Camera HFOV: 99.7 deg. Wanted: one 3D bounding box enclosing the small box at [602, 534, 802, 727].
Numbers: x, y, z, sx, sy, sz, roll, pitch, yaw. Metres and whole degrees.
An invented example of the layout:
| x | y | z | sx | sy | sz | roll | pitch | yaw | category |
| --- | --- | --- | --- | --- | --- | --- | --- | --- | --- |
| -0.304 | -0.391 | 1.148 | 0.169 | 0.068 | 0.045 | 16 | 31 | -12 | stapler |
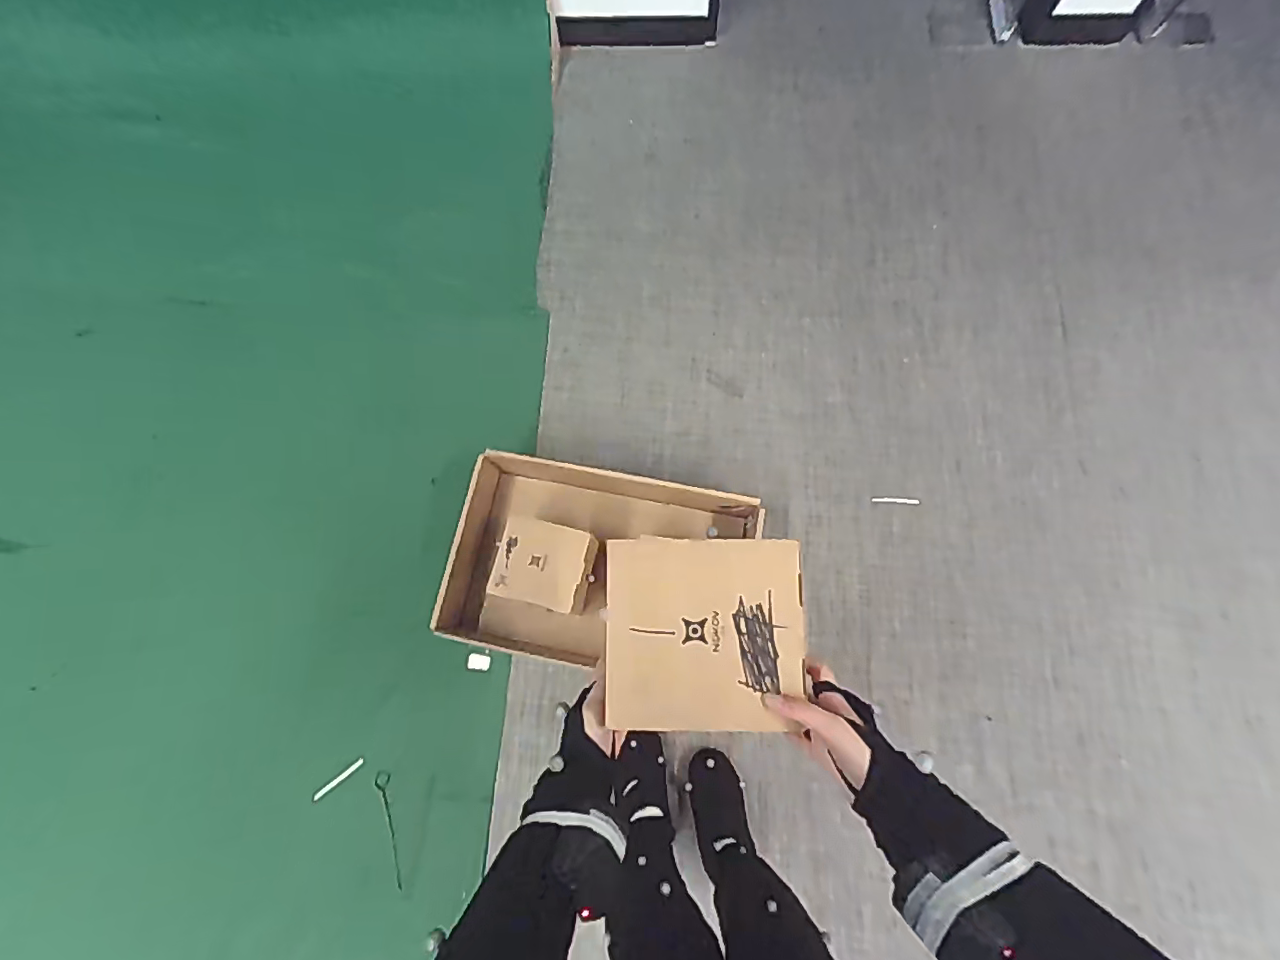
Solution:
| x | y | z | sx | sy | sz | roll | pitch | yaw | category |
| --- | --- | --- | --- | --- | --- | --- | --- | --- | --- |
| 0.057 | 0.144 | 0.559 | 0.179 | 0.176 | 0.168 | 1 | 80 | 2 | small box |
